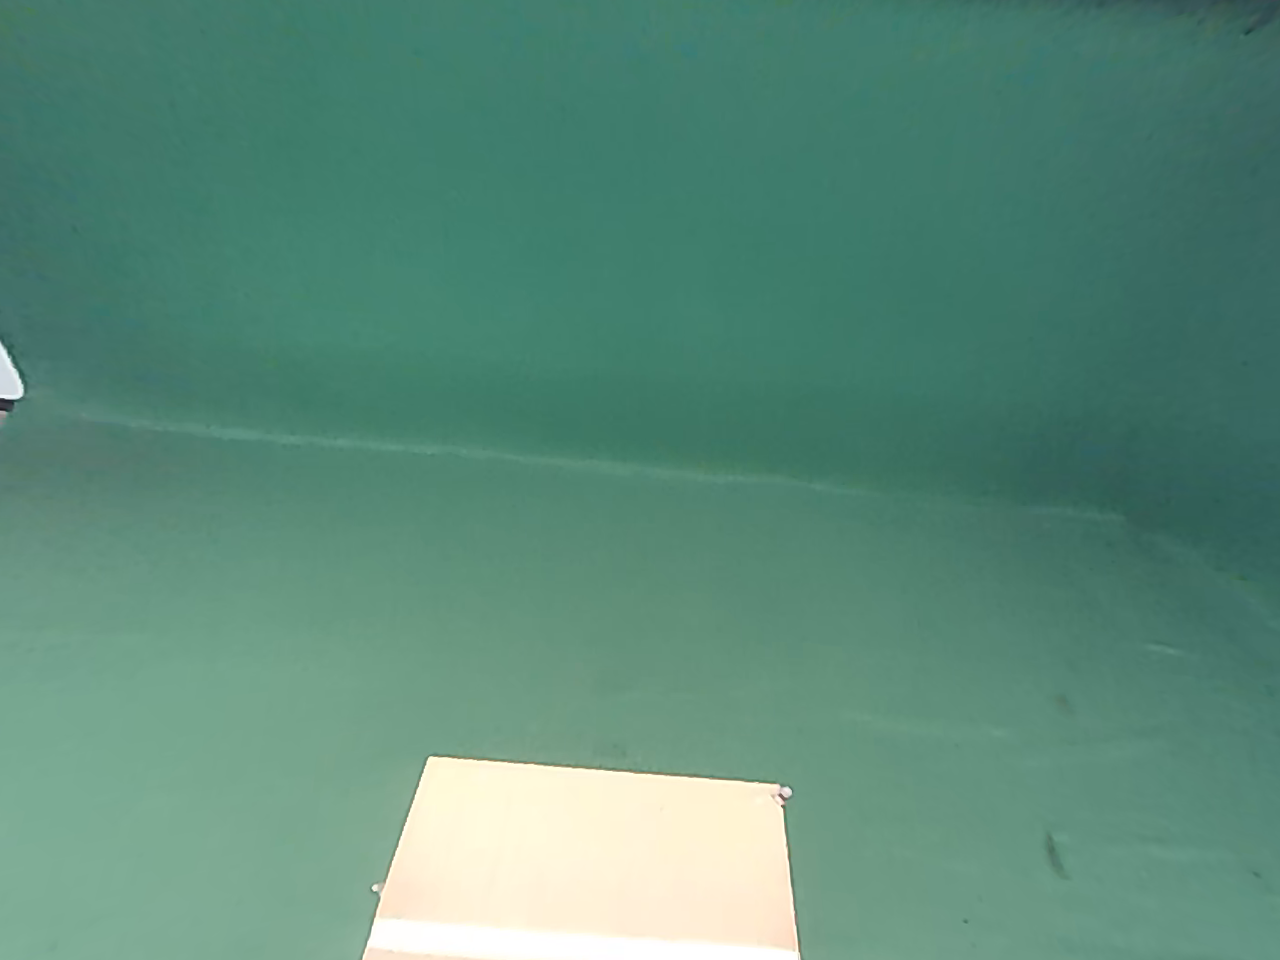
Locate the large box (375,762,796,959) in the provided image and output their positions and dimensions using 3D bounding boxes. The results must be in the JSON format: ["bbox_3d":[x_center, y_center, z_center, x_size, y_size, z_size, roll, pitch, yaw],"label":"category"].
[{"bbox_3d":[-0.058,0.551,0.617,0.408,0.320,0.320,4,44,-1],"label":"large box"}]
